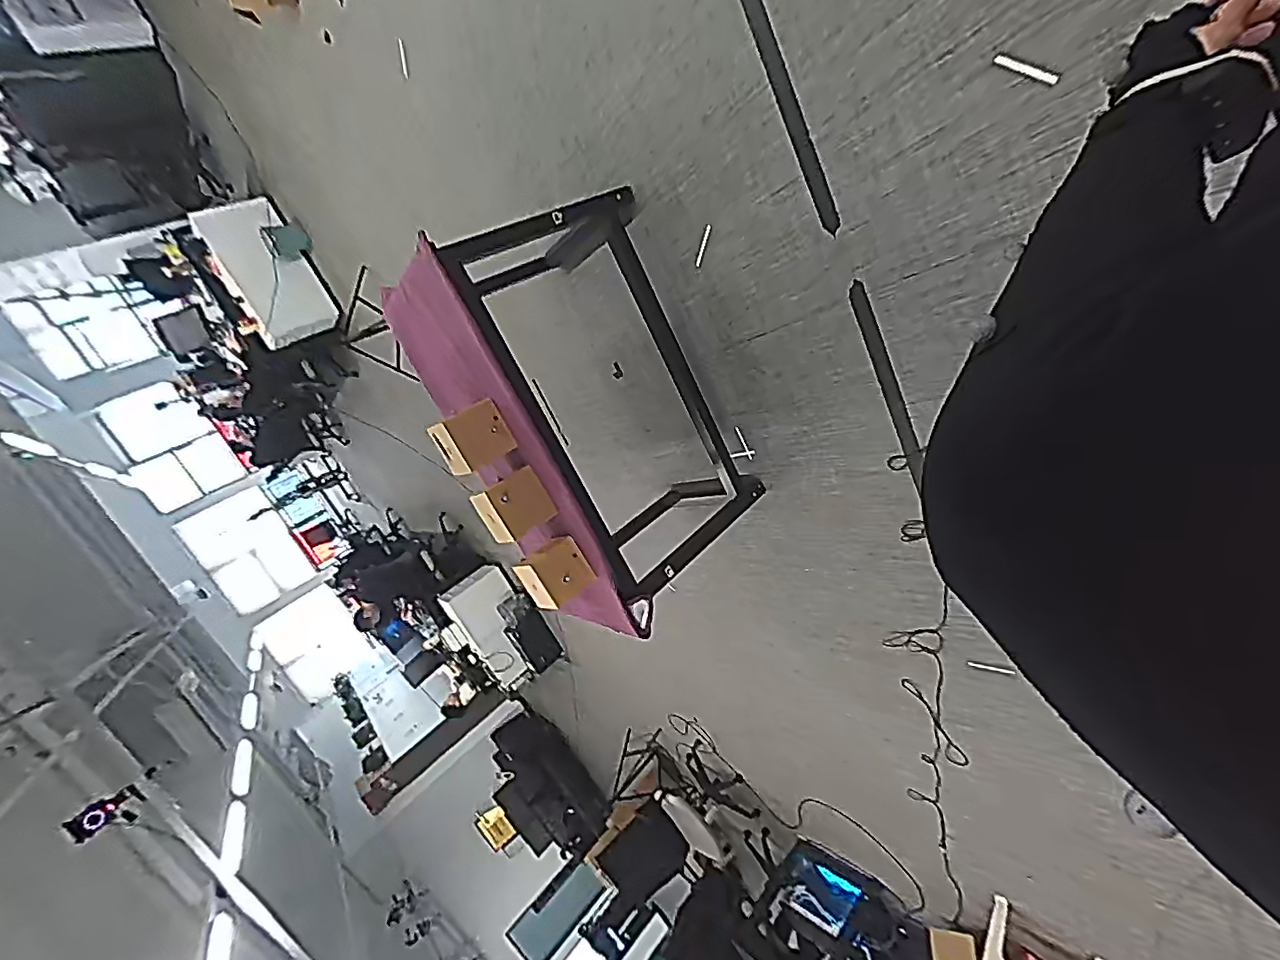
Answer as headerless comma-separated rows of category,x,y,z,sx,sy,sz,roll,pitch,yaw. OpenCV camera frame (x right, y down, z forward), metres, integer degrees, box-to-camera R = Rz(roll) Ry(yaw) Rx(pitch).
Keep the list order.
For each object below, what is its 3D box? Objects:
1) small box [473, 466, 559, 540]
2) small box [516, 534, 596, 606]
small box,-0.384,0.067,1.682,0.168,0.176,0.179,-12,110,58
small box,-0.266,0.286,1.743,0.168,0.176,0.179,59,149,-8
